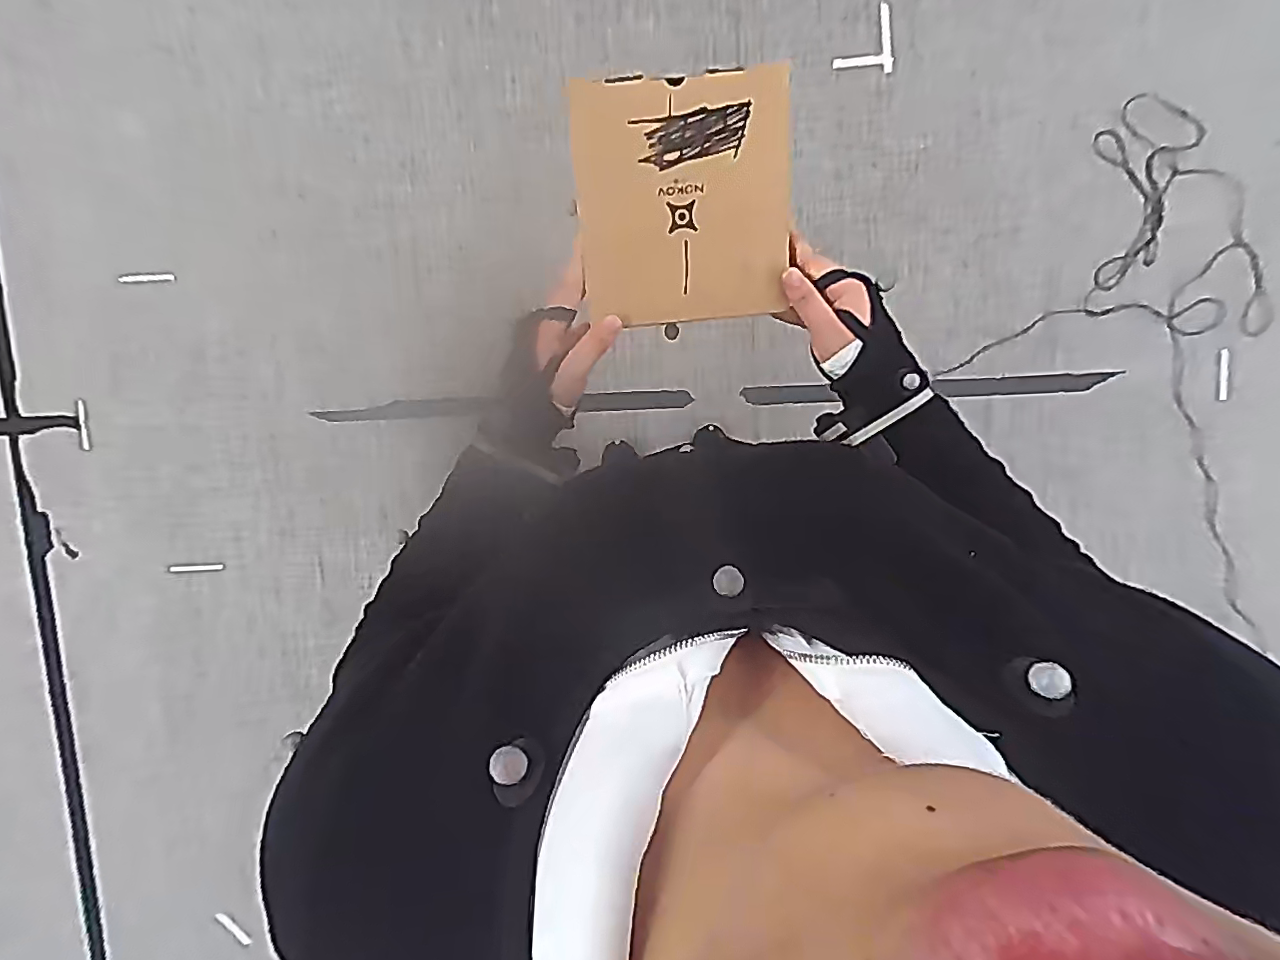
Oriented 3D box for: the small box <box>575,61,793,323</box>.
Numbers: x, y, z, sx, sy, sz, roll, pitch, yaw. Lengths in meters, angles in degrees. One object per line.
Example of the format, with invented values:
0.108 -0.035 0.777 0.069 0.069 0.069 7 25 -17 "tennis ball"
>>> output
0.034 -0.240 0.495 0.168 0.176 0.179 -5 107 0 "small box"
